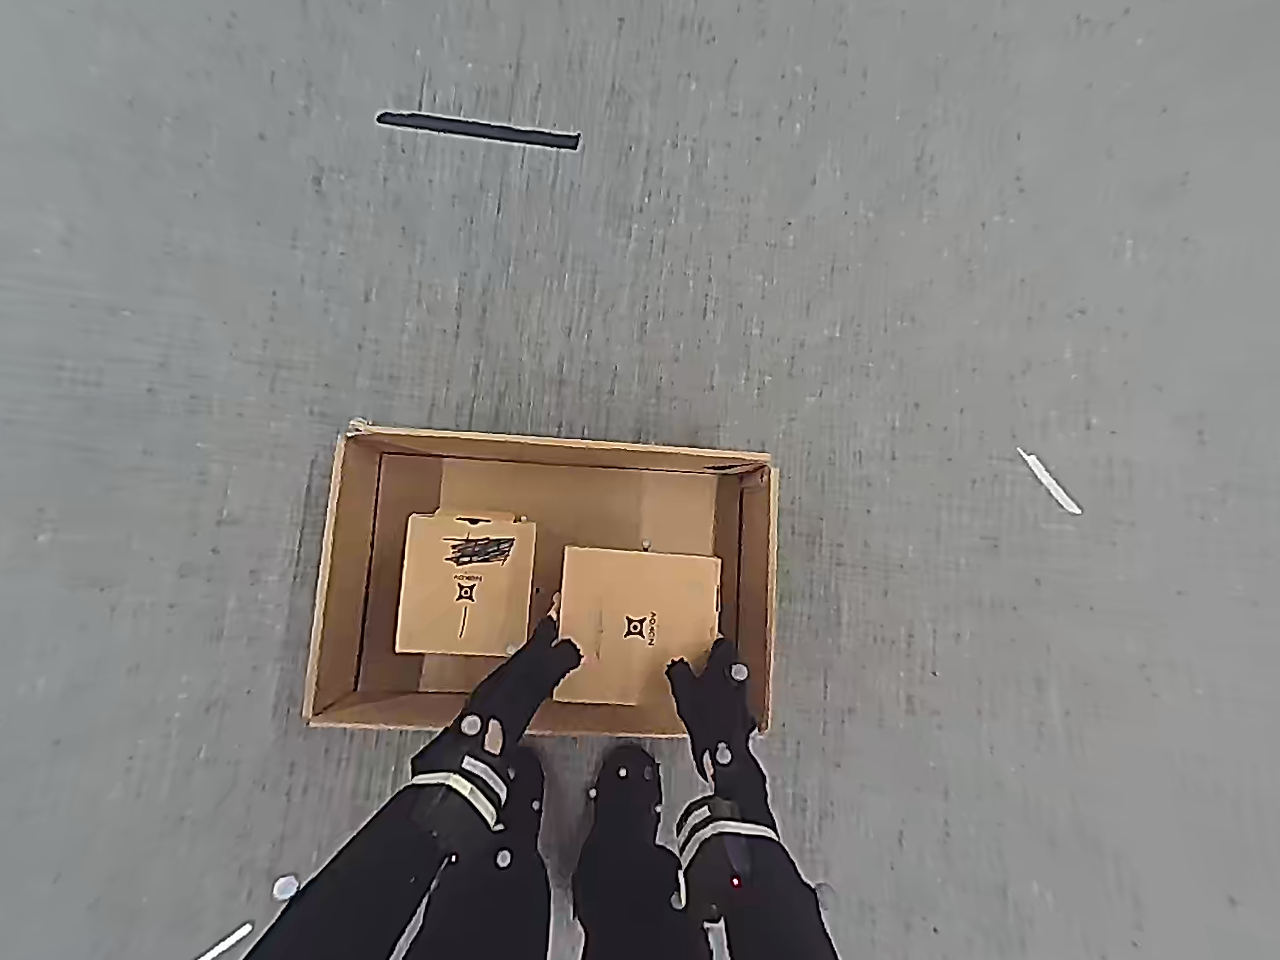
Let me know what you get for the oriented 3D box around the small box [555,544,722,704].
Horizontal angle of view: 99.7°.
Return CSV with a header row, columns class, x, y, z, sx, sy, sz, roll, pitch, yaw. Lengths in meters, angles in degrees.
class,x,y,z,sx,sy,sz,roll,pitch,yaw
small box,-0.005,0.168,0.675,0.179,0.176,0.168,4,82,-3
